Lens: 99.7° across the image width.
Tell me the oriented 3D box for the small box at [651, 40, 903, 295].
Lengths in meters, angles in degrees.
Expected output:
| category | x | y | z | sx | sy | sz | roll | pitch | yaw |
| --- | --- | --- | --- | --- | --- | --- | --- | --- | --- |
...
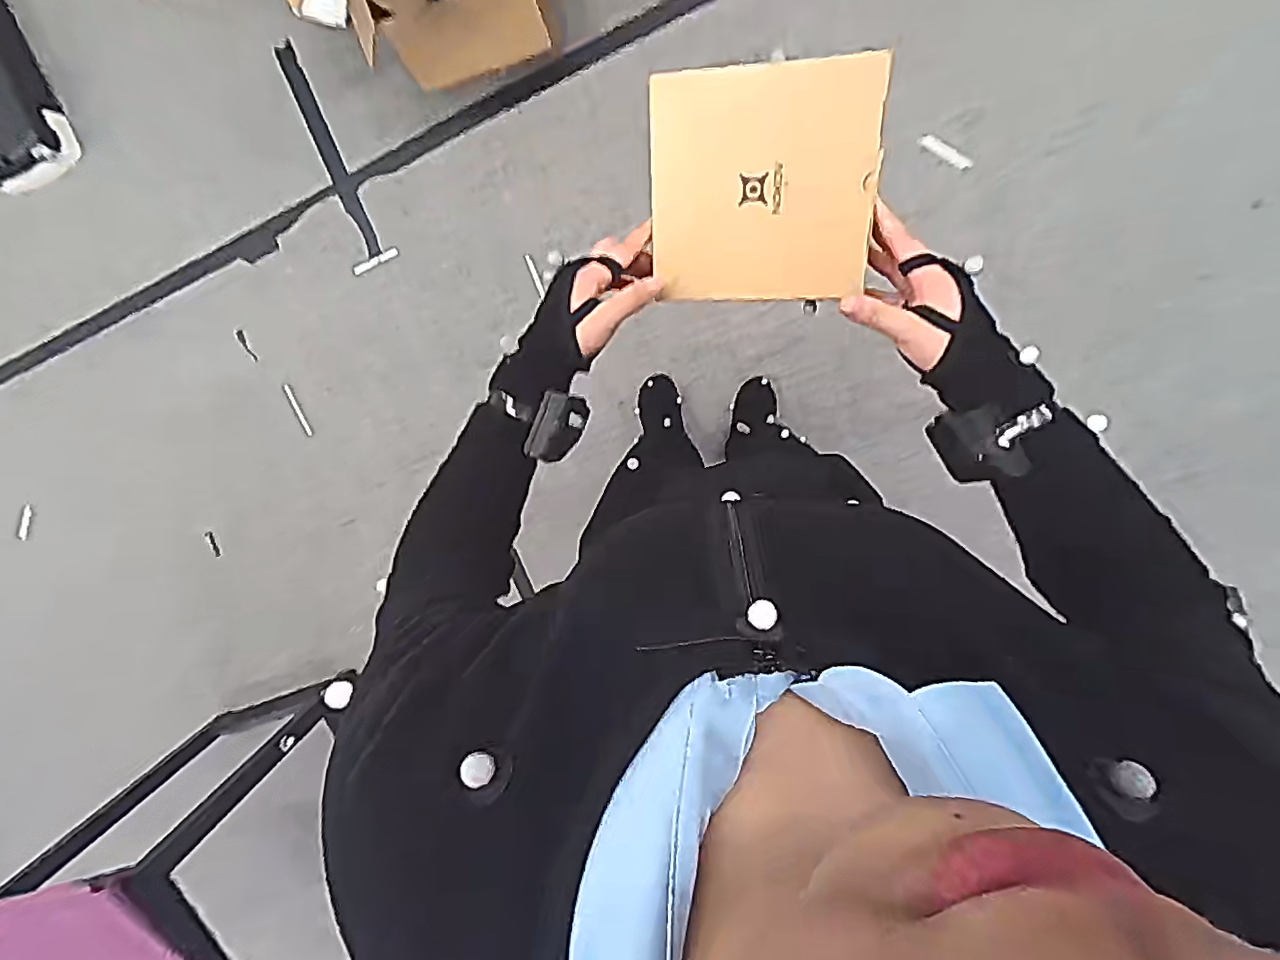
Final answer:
| category | x | y | z | sx | sy | sz | roll | pitch | yaw |
| --- | --- | --- | --- | --- | --- | --- | --- | --- | --- |
| small box | 0.113 | -0.255 | 0.483 | 0.179 | 0.176 | 0.168 | 4 | 112 | 13 |
